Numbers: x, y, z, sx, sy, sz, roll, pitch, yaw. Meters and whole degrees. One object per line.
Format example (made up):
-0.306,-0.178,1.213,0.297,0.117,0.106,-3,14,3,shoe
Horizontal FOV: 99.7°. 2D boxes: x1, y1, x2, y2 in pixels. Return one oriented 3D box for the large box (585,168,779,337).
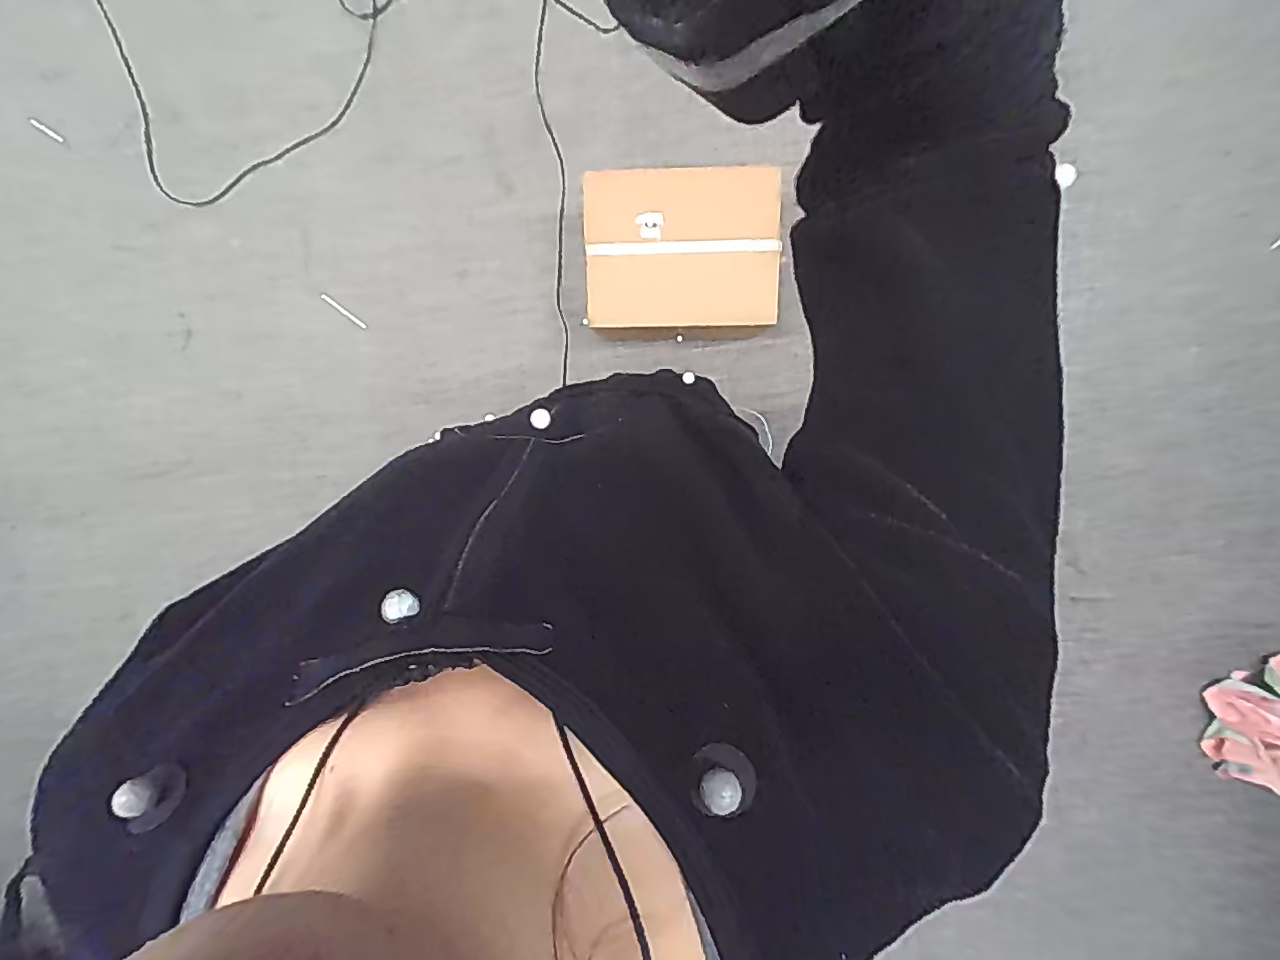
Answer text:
0.096,-0.506,1.276,0.408,0.320,0.320,1,99,3,large box
